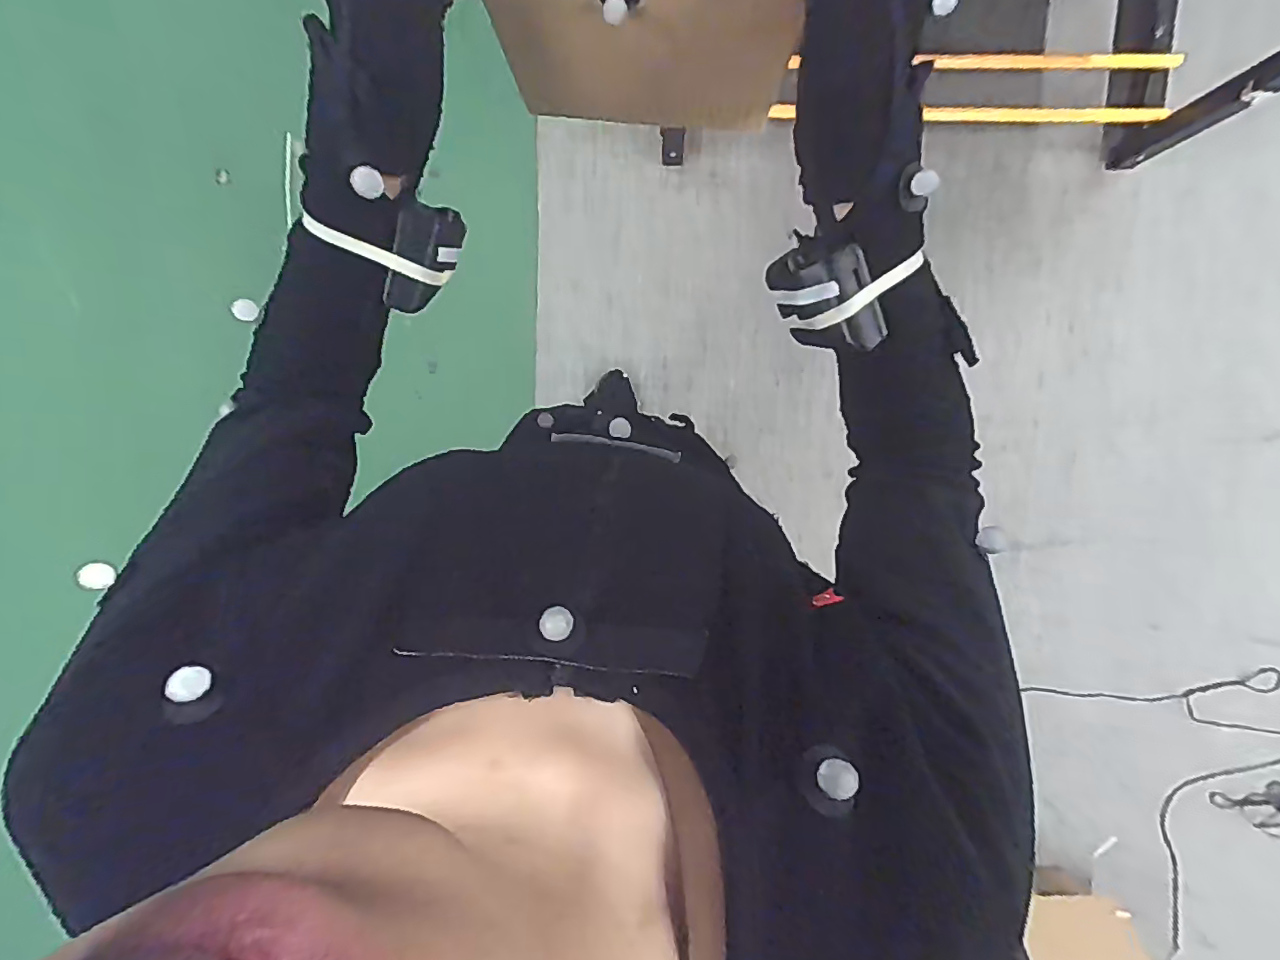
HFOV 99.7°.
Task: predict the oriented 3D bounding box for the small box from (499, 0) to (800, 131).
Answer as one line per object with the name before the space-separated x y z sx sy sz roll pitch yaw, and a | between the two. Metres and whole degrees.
small box | 0.009 -0.334 0.313 0.179 0.176 0.168 5 97 0
